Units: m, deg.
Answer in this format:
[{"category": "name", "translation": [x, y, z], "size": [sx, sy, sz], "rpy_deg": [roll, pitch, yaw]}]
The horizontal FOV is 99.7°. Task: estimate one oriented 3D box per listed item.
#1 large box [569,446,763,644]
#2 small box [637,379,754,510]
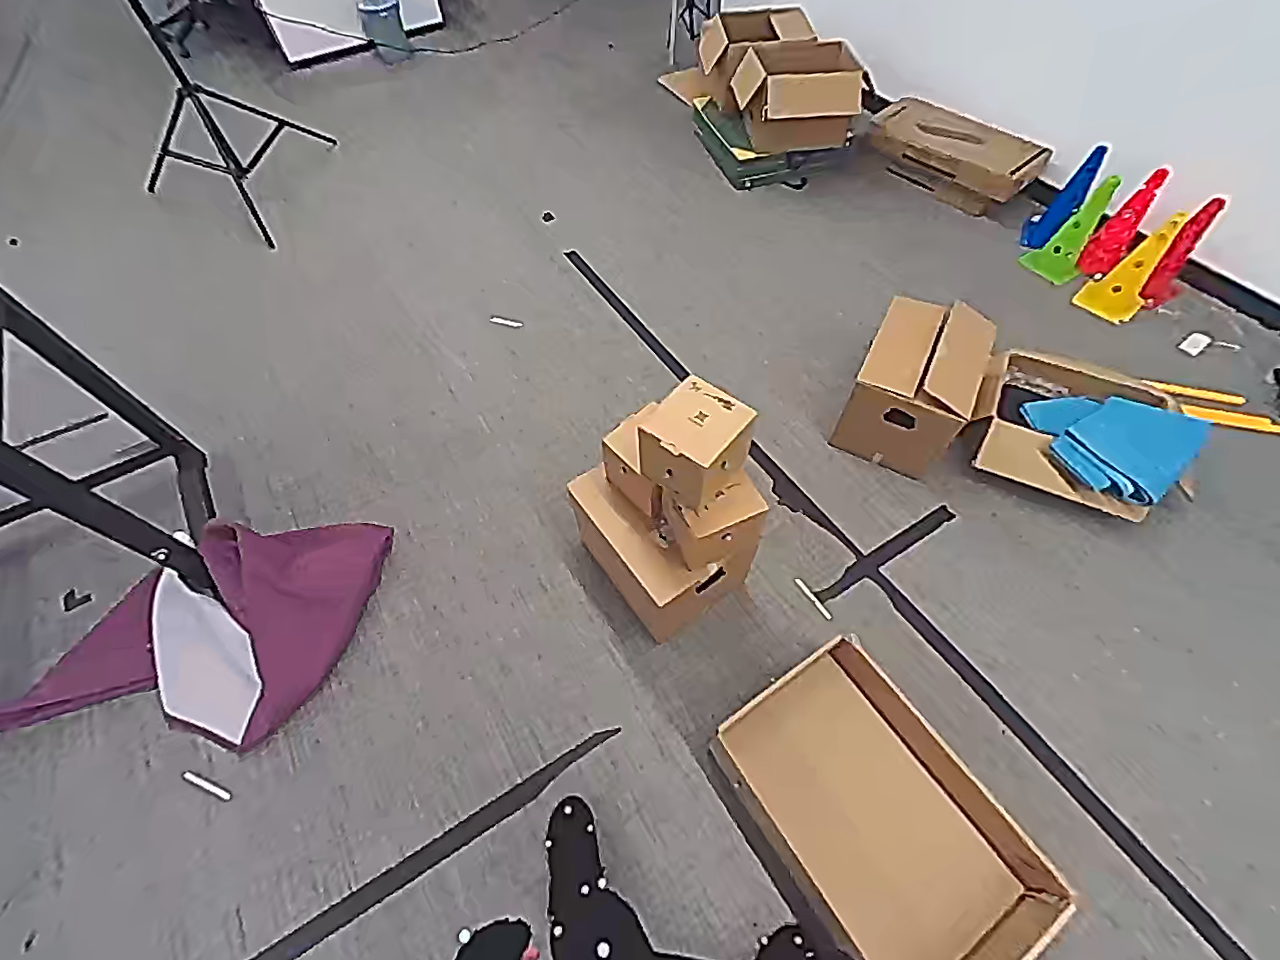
[{"category": "large box", "translation": [0.057, 0.160, 1.460], "size": [0.320, 0.320, 0.408], "rpy_deg": [-33, 63, -17]}, {"category": "small box", "translation": [0.114, -0.069, 1.122], "size": [0.168, 0.176, 0.179], "rpy_deg": [35, 66, 21]}]
